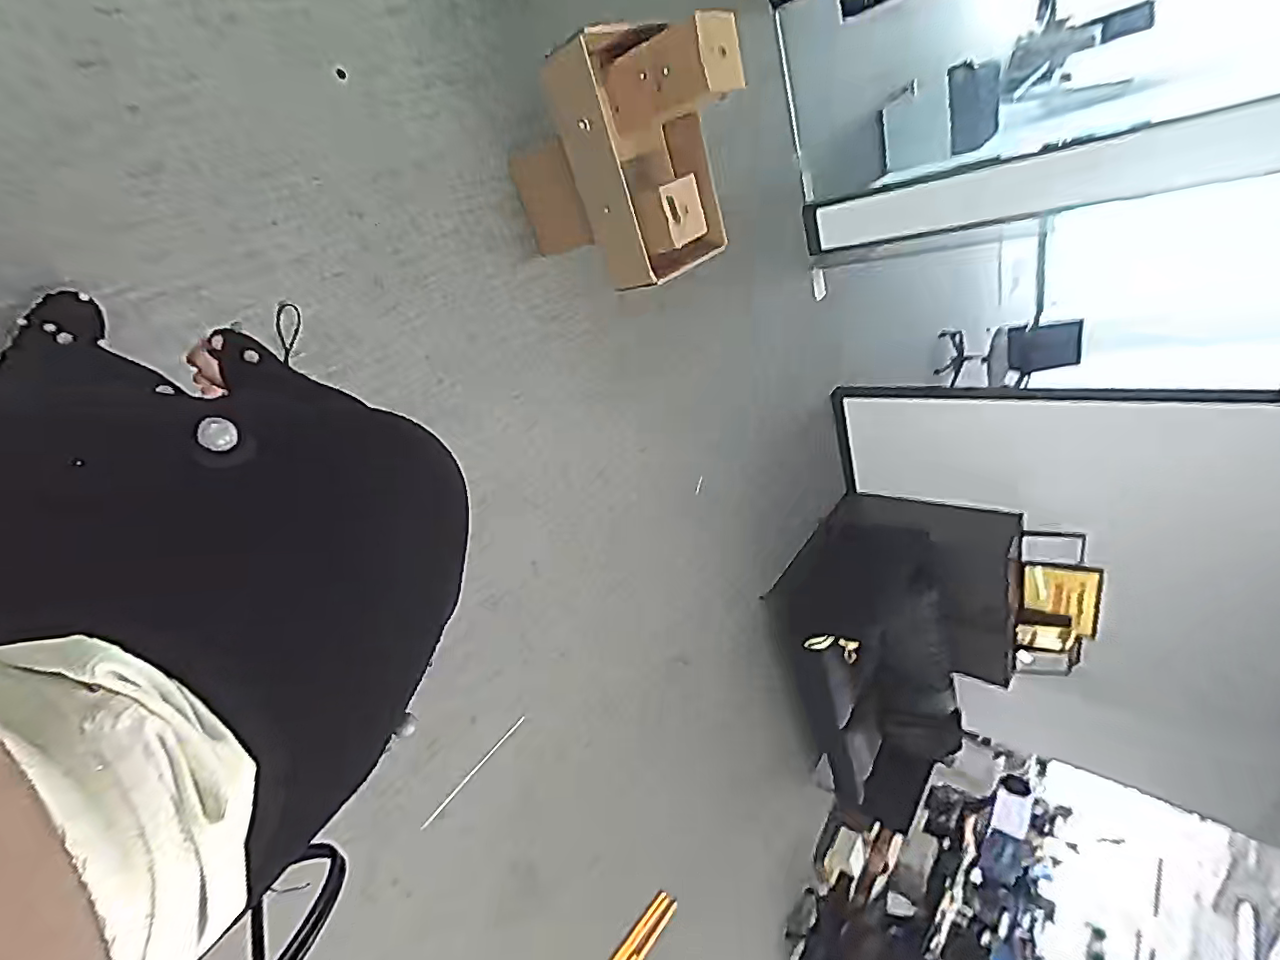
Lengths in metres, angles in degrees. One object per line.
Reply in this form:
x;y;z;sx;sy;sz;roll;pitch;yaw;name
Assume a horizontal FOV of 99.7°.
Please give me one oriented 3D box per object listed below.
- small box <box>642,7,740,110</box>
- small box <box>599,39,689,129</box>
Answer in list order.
0.134;-1.090;1.409;0.179;0.176;0.168;-37;122;-36;small box
0.014;-1.111;1.519;0.179;0.176;0.168;-40;124;-36;small box
